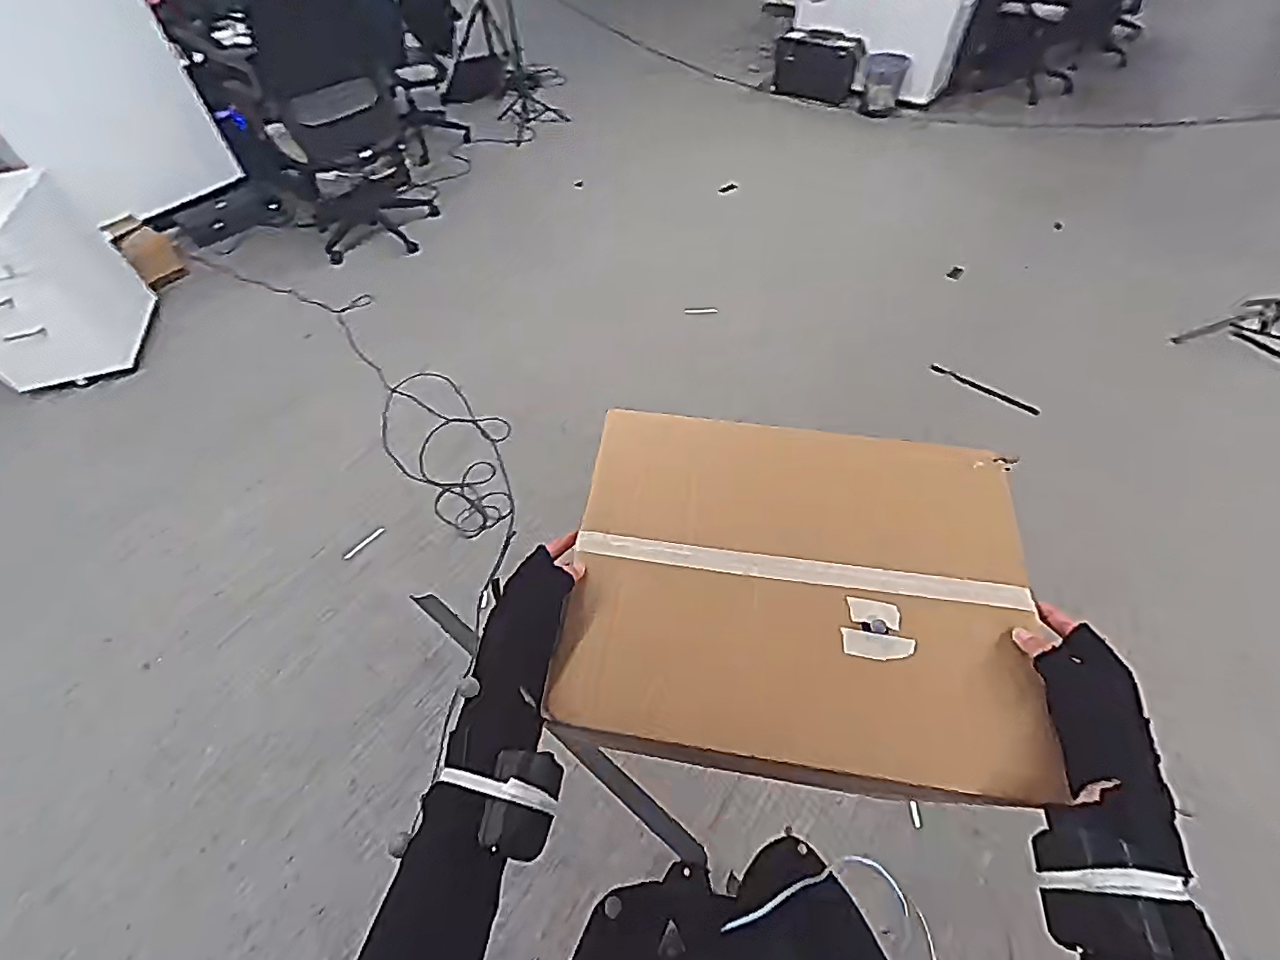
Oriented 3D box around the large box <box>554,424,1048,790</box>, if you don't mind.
[{"bbox_3d":[0.143,0.162,0.635,0.408,0.320,0.320,7,62,5],"label":"large box"}]
